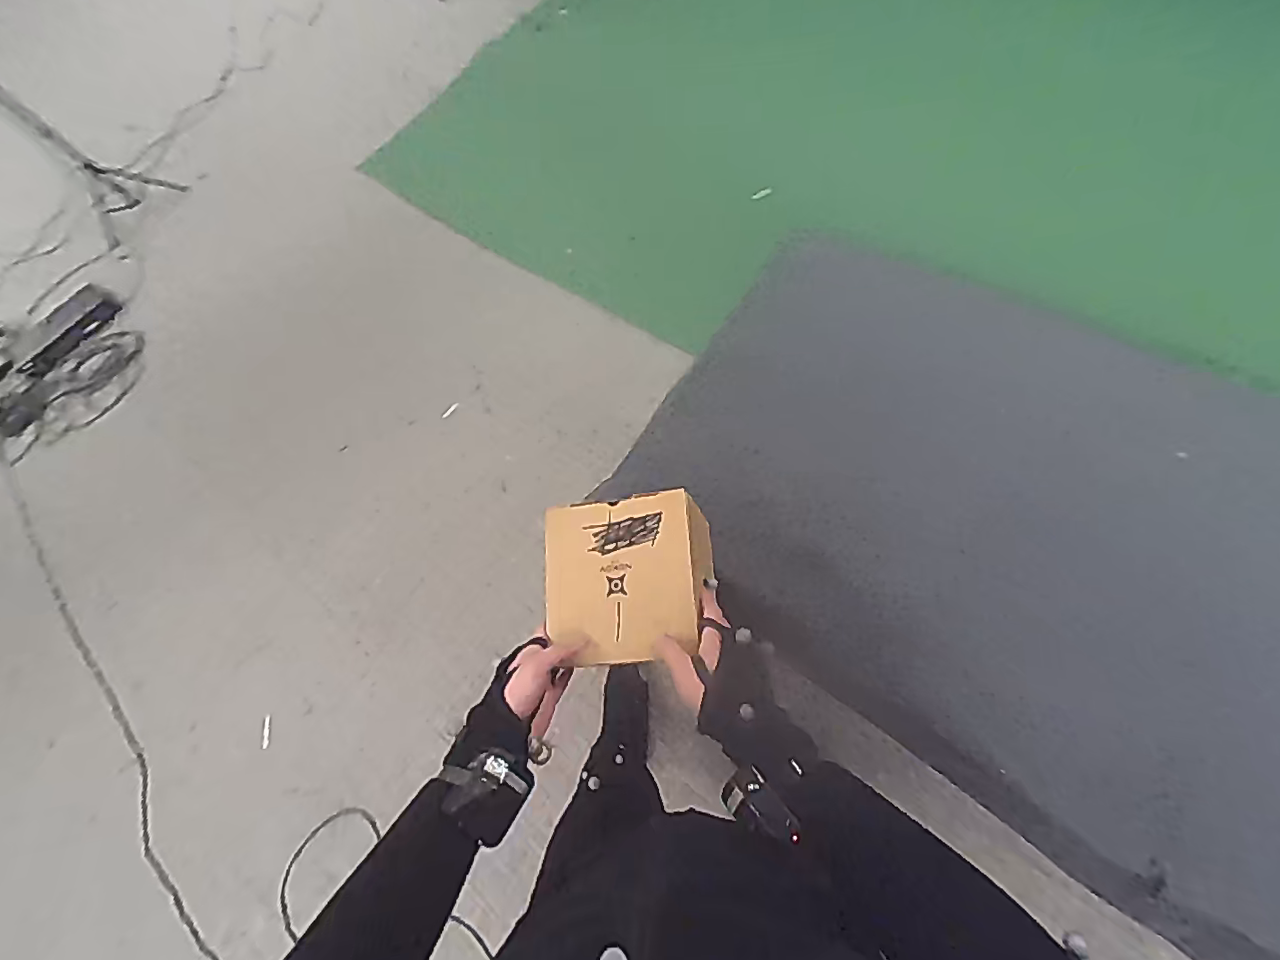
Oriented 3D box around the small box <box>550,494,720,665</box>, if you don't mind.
[{"bbox_3d":[0.000,0.128,0.654,0.168,0.176,0.179,-7,72,14],"label":"small box"}]
